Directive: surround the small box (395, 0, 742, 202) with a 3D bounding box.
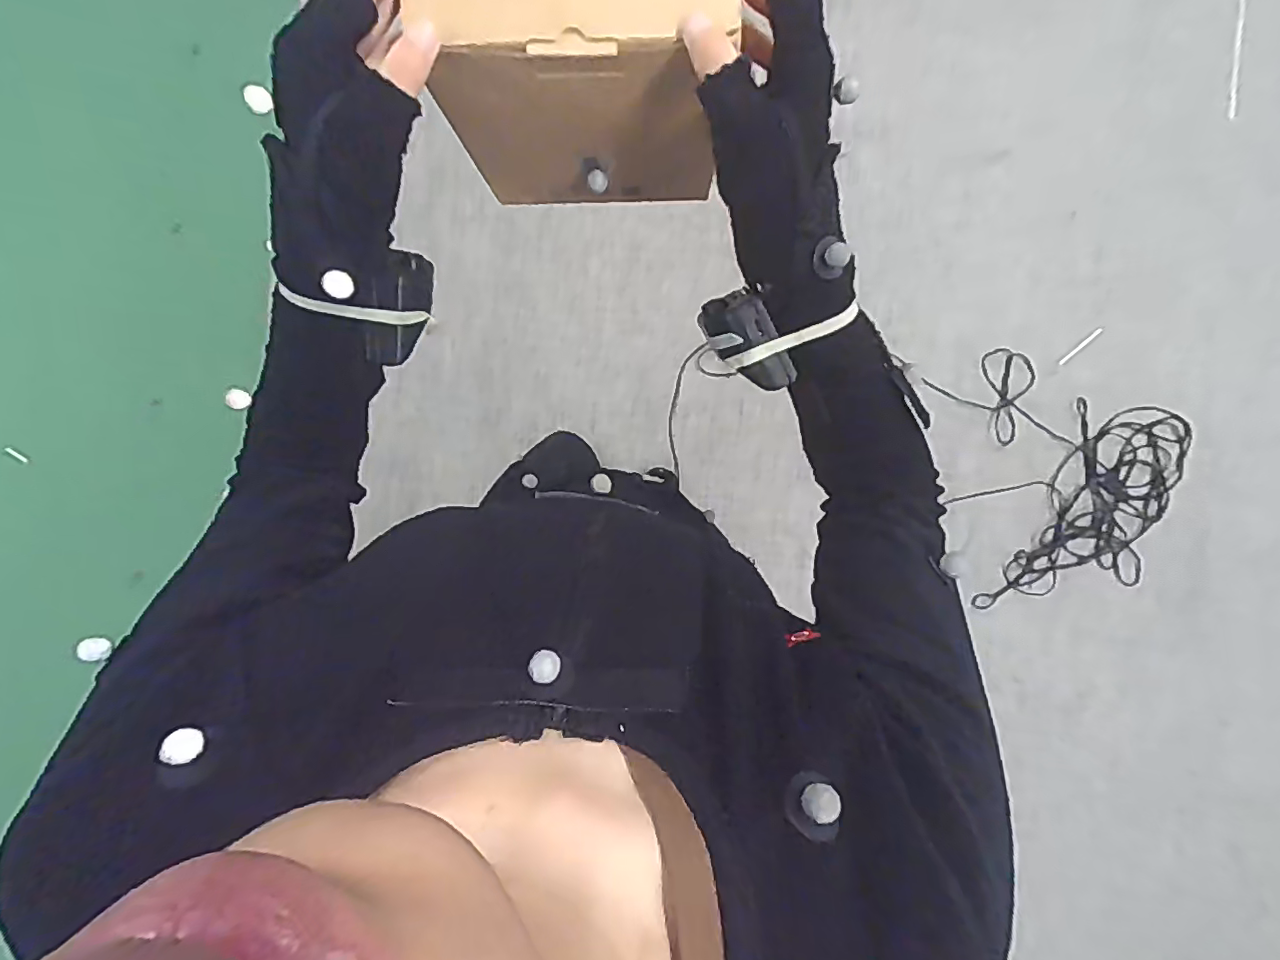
[{"bbox_3d":[-0.031,-0.299,0.332,0.168,0.176,0.179,0,92,2],"label":"small box"}]
